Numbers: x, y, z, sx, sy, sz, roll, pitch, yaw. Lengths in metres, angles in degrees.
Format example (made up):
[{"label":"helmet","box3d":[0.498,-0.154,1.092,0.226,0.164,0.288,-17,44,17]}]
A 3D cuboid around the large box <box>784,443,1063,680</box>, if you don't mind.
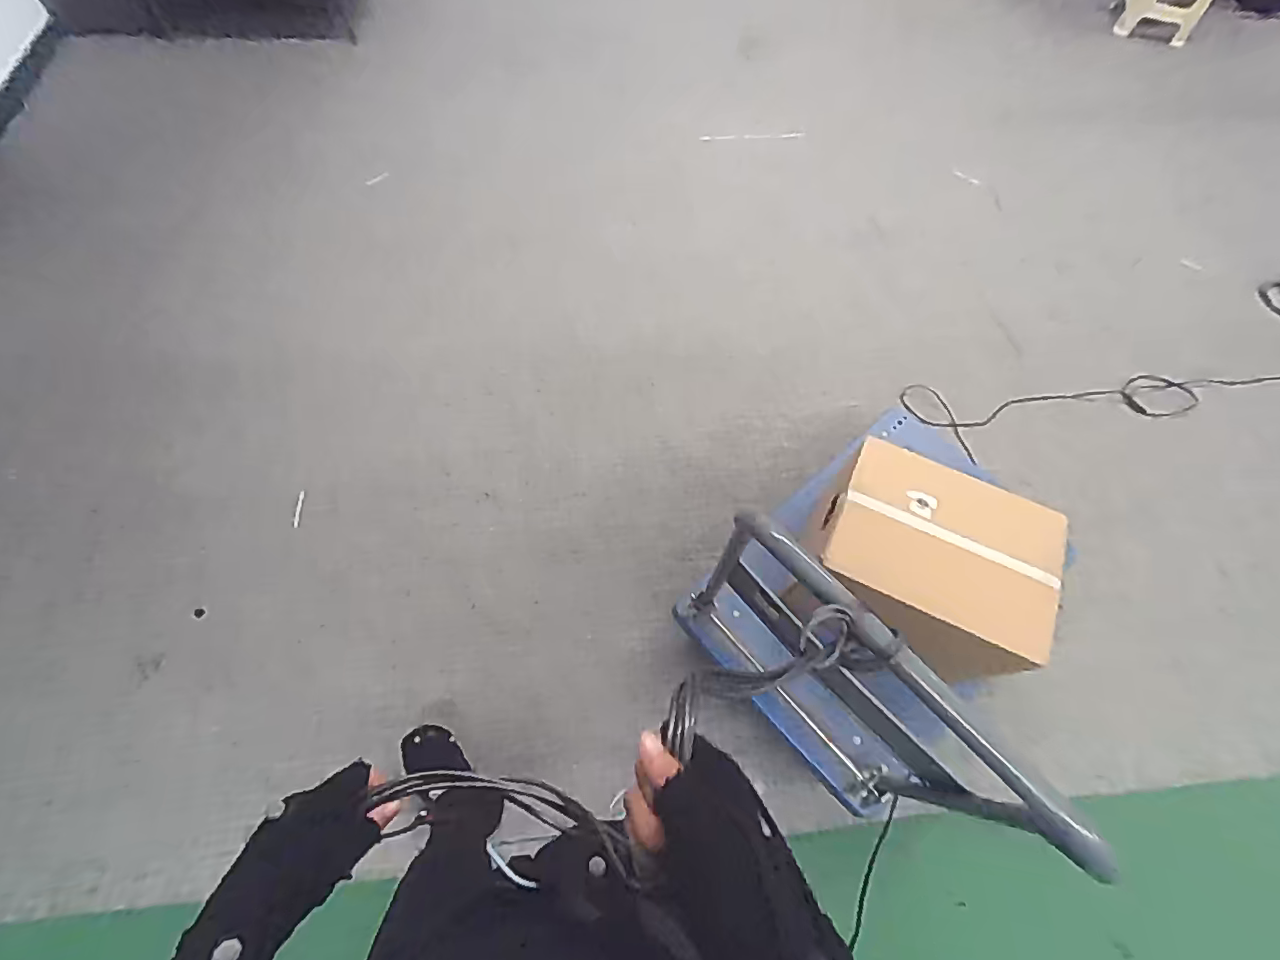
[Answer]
[{"label":"large box","box3d":[0.579,0.186,1.157,0.408,0.320,0.320,24,65,11]}]
